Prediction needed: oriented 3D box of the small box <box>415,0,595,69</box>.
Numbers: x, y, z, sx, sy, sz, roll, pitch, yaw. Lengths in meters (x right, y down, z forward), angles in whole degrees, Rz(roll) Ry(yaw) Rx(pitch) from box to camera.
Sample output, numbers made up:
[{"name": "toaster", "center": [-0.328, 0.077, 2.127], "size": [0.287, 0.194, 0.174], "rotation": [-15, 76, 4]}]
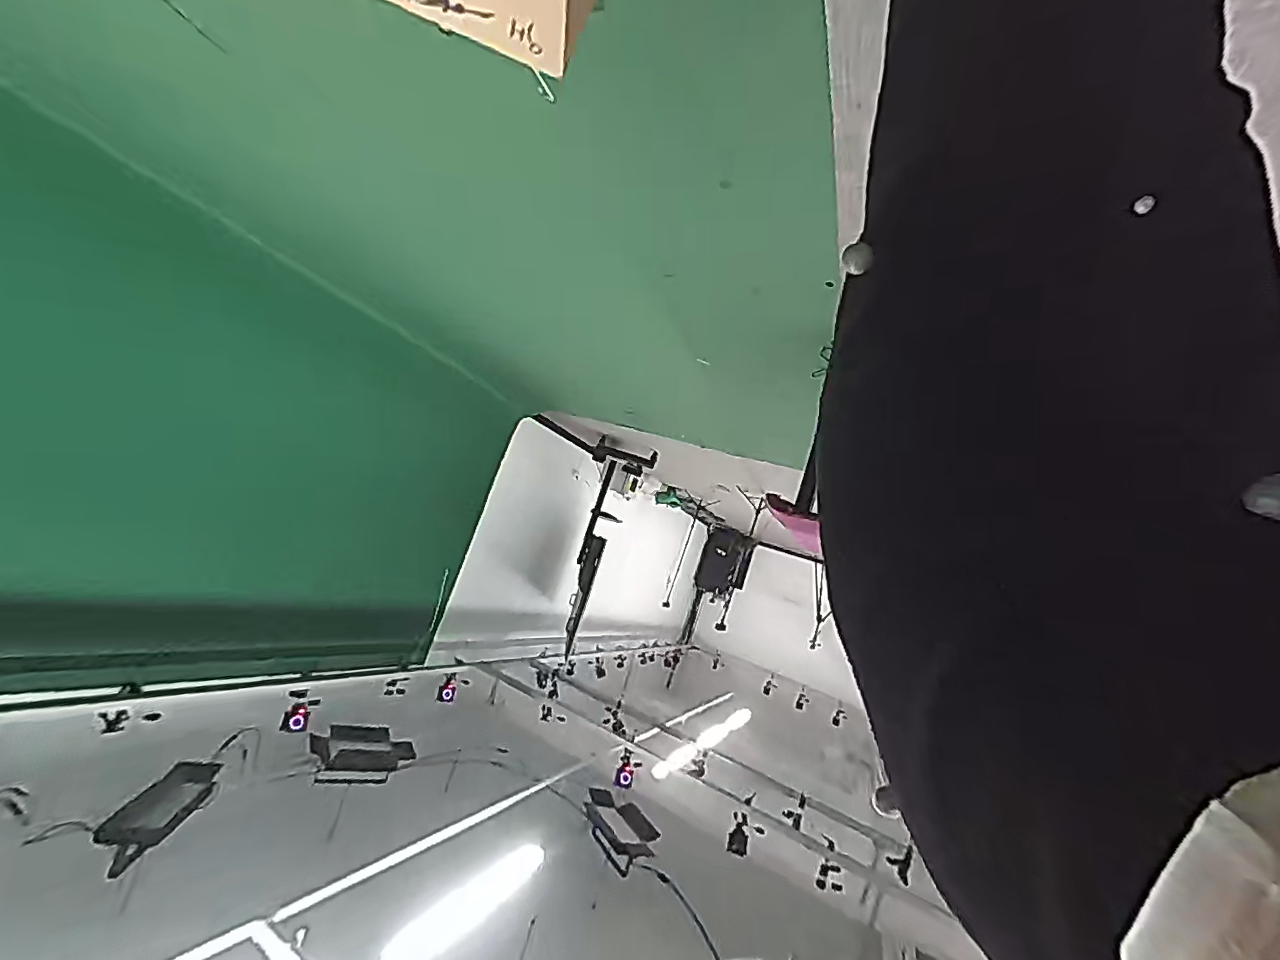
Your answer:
[{"name": "small box", "center": [-0.087, -0.416, 0.320], "size": [0.168, 0.176, 0.179], "rotation": [20, 172, -9]}]
